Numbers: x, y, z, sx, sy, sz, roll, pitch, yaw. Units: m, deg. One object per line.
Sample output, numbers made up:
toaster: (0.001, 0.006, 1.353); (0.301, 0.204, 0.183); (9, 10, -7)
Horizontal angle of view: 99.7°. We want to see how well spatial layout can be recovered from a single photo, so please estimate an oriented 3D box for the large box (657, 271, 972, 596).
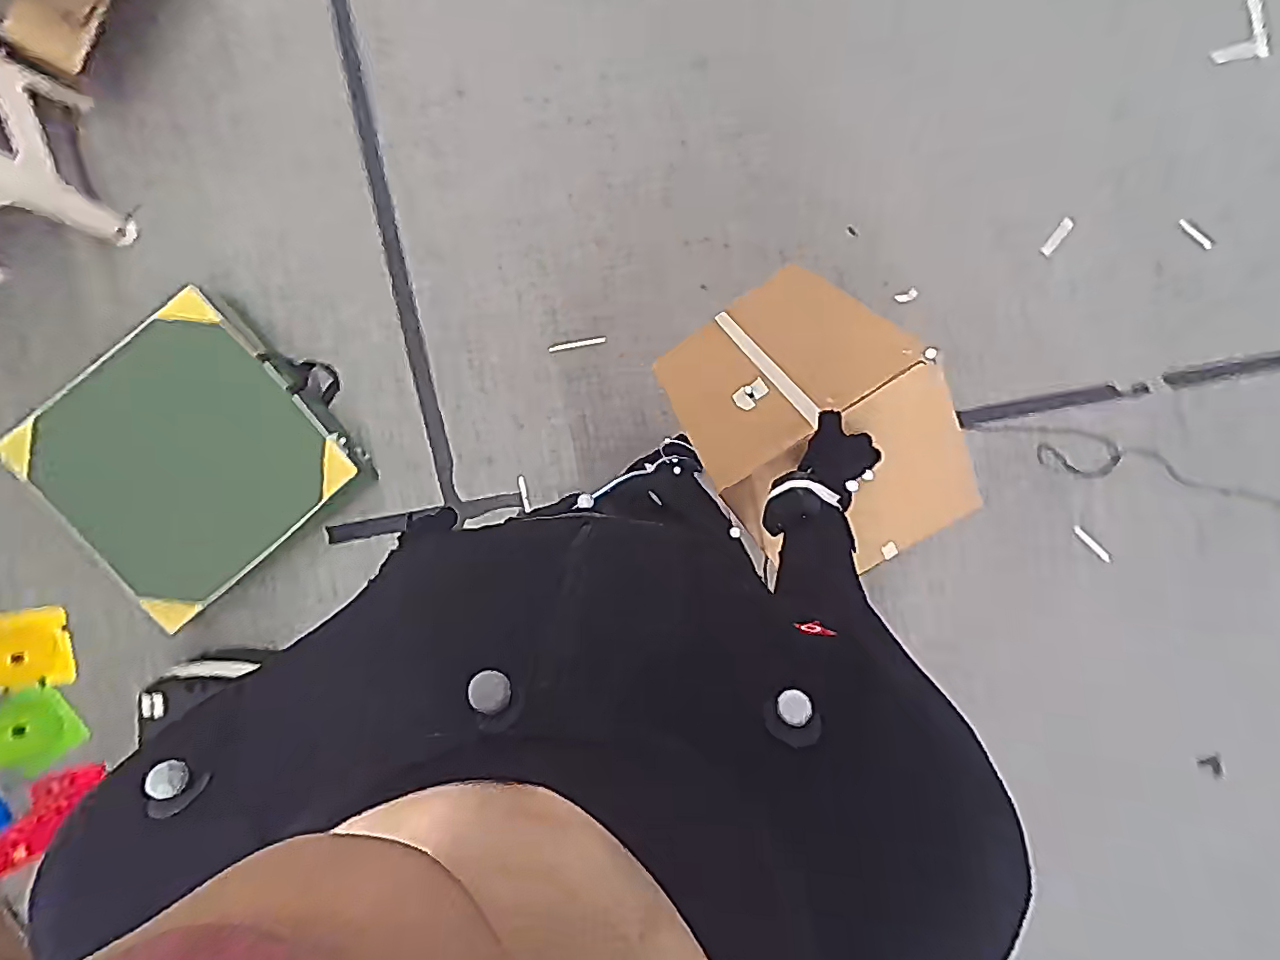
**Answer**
large box: (0.275, -0.089, 0.928); (0.320, 0.408, 0.320); (-34, 127, 12)
